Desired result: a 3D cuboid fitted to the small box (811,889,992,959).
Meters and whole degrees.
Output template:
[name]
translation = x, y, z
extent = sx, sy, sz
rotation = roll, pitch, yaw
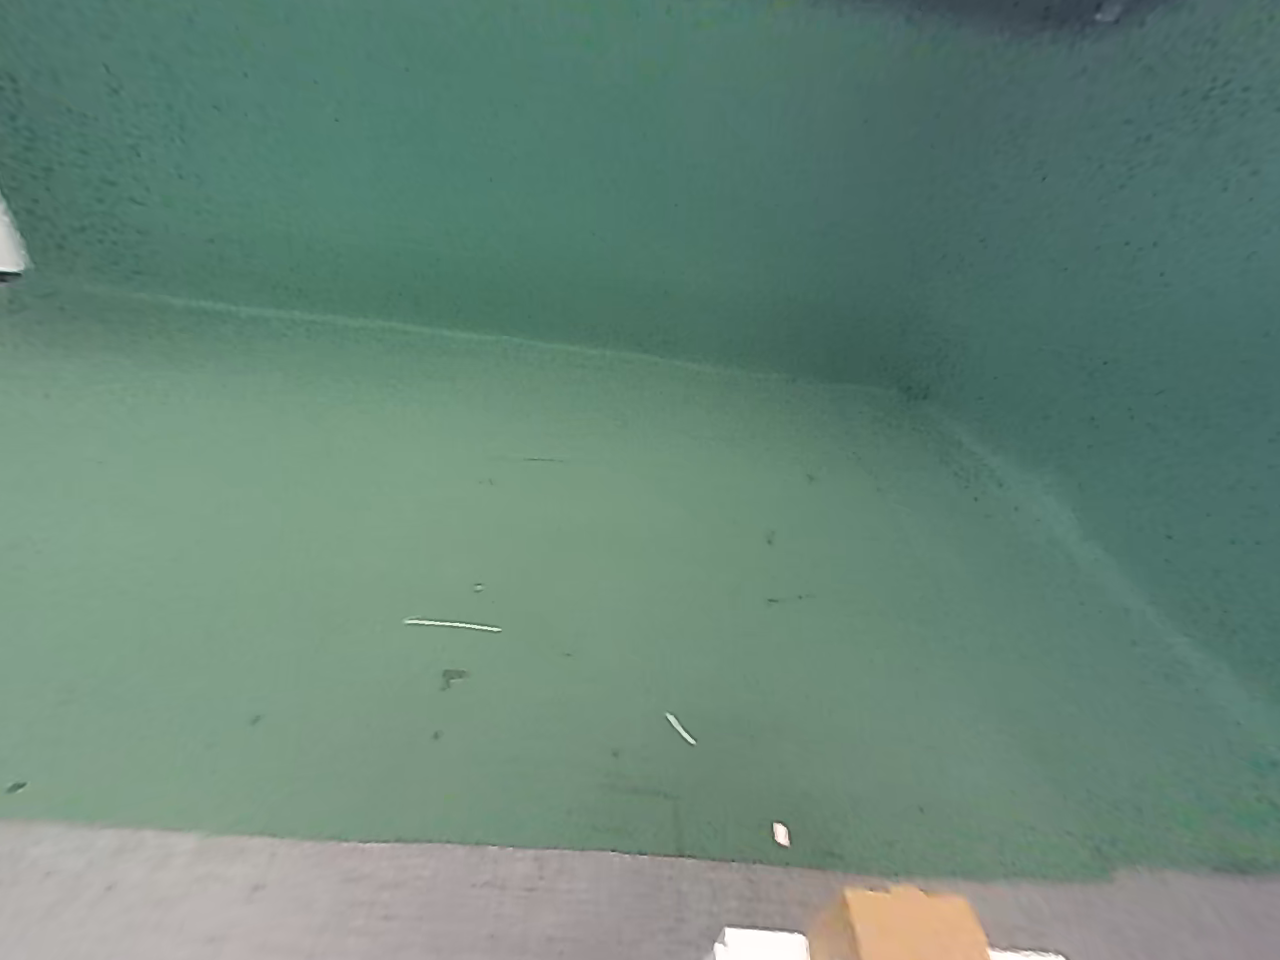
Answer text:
[small box]
translation = 0.326, 0.642, 0.663
extent = 0.168, 0.176, 0.179
rotation = 7, 36, -3
